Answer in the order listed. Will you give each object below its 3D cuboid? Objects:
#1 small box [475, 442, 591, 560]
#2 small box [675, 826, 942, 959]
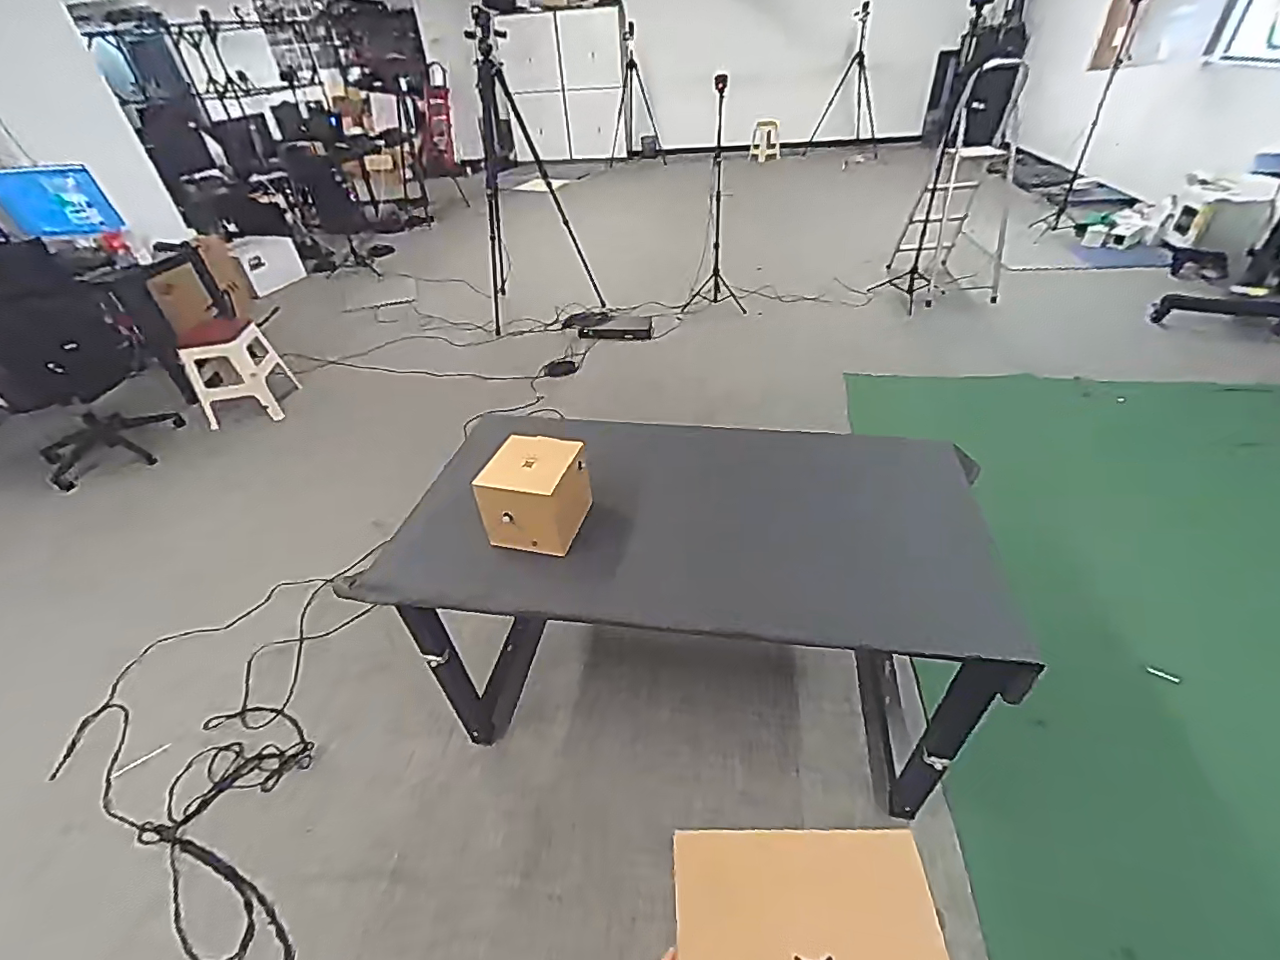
[{"bbox_3d":[-0.209,0.043,1.114,0.168,0.176,0.179,7,39,14],"label":"small box"},{"bbox_3d":[0.108,0.364,0.378,0.168,0.176,0.179,-2,45,4],"label":"small box"}]
